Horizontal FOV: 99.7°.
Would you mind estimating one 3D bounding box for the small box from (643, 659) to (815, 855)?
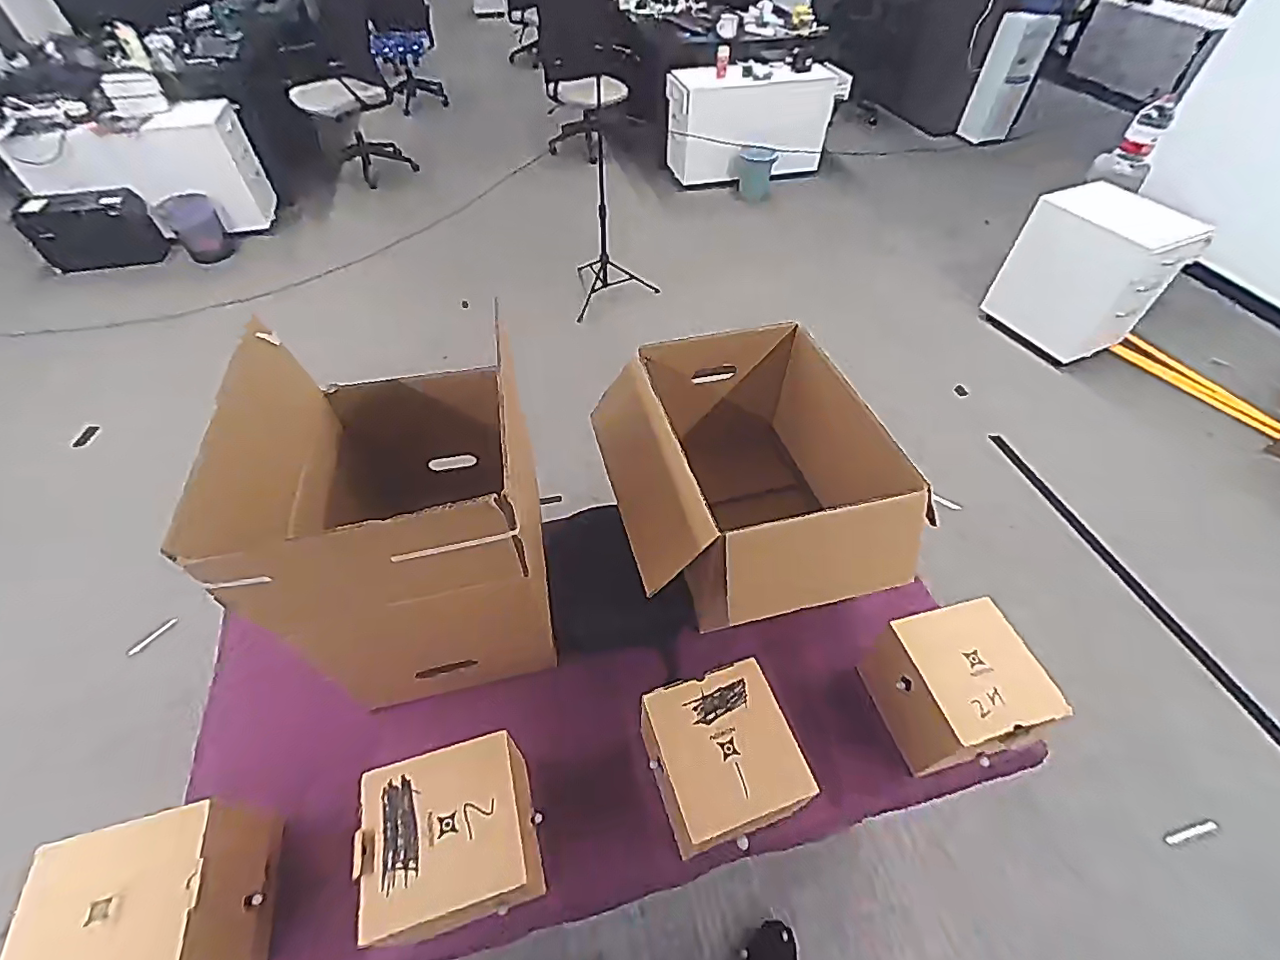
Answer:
[{"bbox_3d":[0.104,0.376,0.733,0.168,0.176,0.179,-14,53,-11],"label":"small box"}]

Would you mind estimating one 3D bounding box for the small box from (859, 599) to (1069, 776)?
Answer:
[{"bbox_3d":[0.452,0.304,0.793,0.168,0.176,0.179,-11,51,-8],"label":"small box"}]

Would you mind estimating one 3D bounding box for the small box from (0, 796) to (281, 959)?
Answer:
[{"bbox_3d":[-0.560,0.497,0.627,0.179,0.176,0.168,-11,51,-11],"label":"small box"}]
